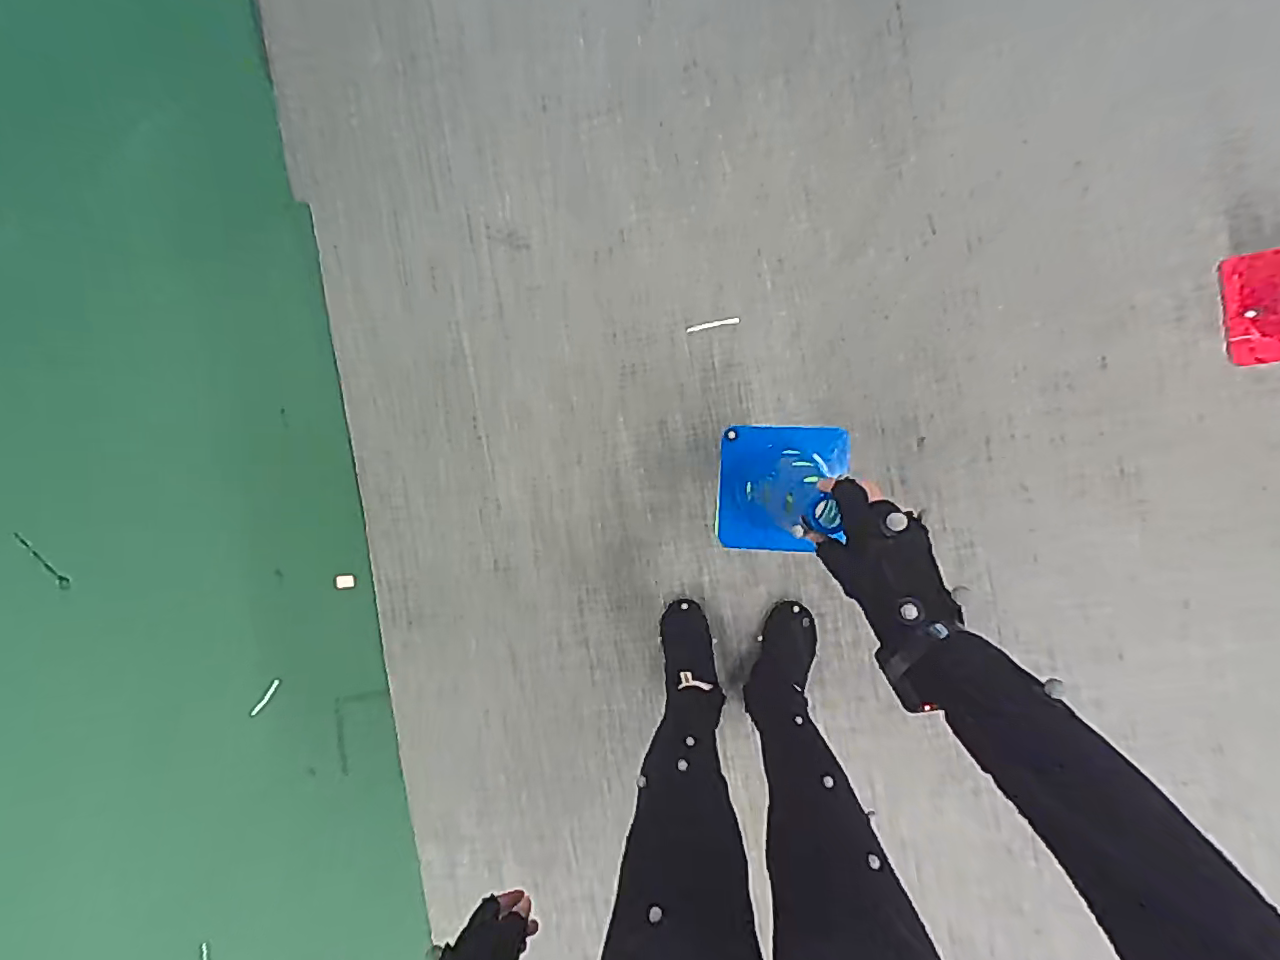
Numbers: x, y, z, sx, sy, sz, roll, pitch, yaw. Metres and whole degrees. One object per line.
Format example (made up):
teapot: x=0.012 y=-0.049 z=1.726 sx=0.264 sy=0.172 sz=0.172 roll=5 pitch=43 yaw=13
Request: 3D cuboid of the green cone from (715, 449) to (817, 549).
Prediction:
green cone: x=0.236 y=0.044 z=0.960 sx=0.202 sy=0.368 sz=0.200 roll=4 pitch=92 yaw=9
